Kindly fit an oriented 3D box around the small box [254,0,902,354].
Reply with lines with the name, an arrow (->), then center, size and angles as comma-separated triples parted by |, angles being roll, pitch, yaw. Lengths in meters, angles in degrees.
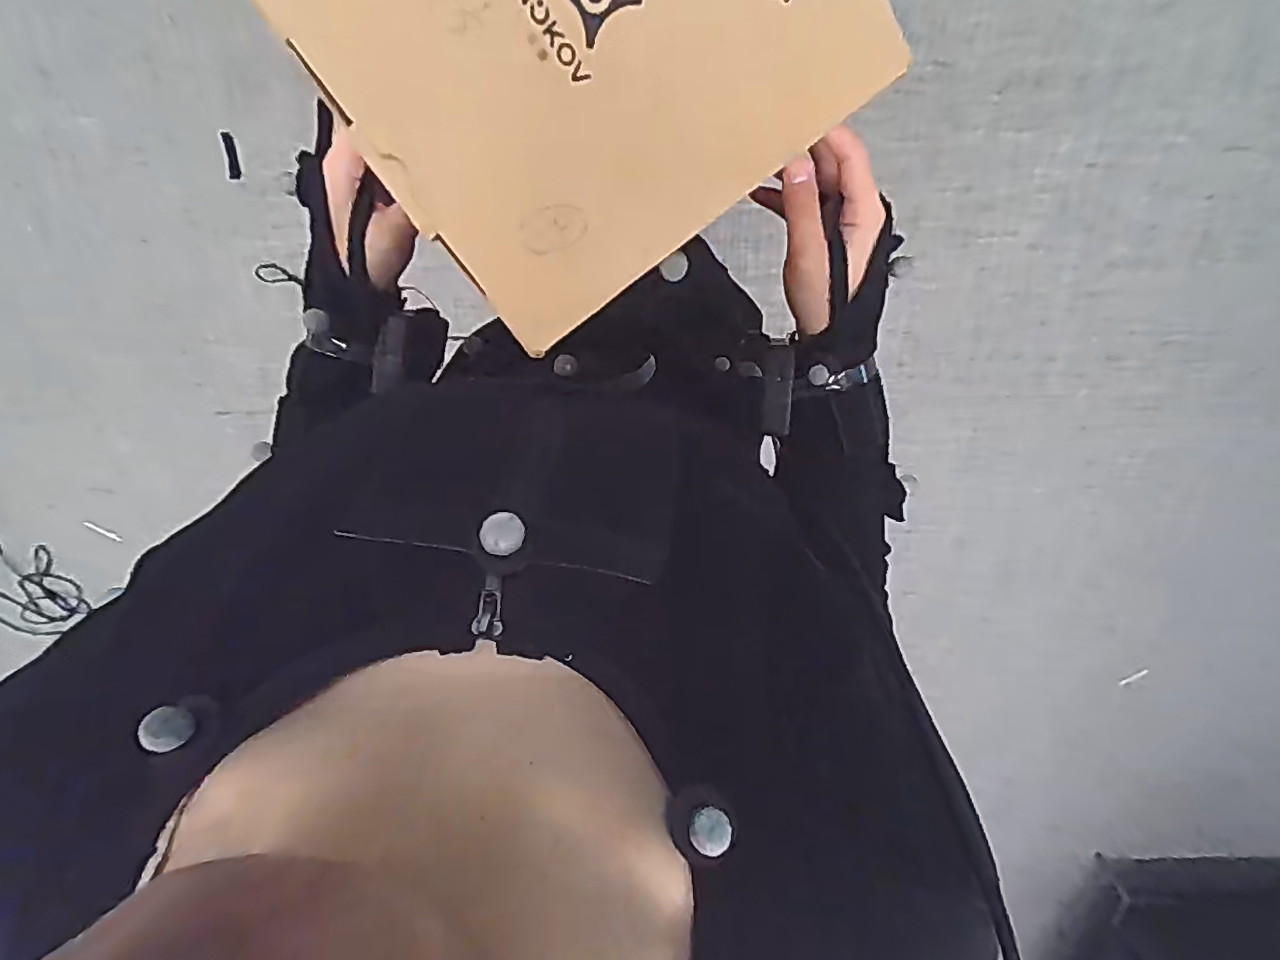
small box -> -0.019, -0.187, 0.261 | 0.179, 0.176, 0.168 | -33, 108, 14
